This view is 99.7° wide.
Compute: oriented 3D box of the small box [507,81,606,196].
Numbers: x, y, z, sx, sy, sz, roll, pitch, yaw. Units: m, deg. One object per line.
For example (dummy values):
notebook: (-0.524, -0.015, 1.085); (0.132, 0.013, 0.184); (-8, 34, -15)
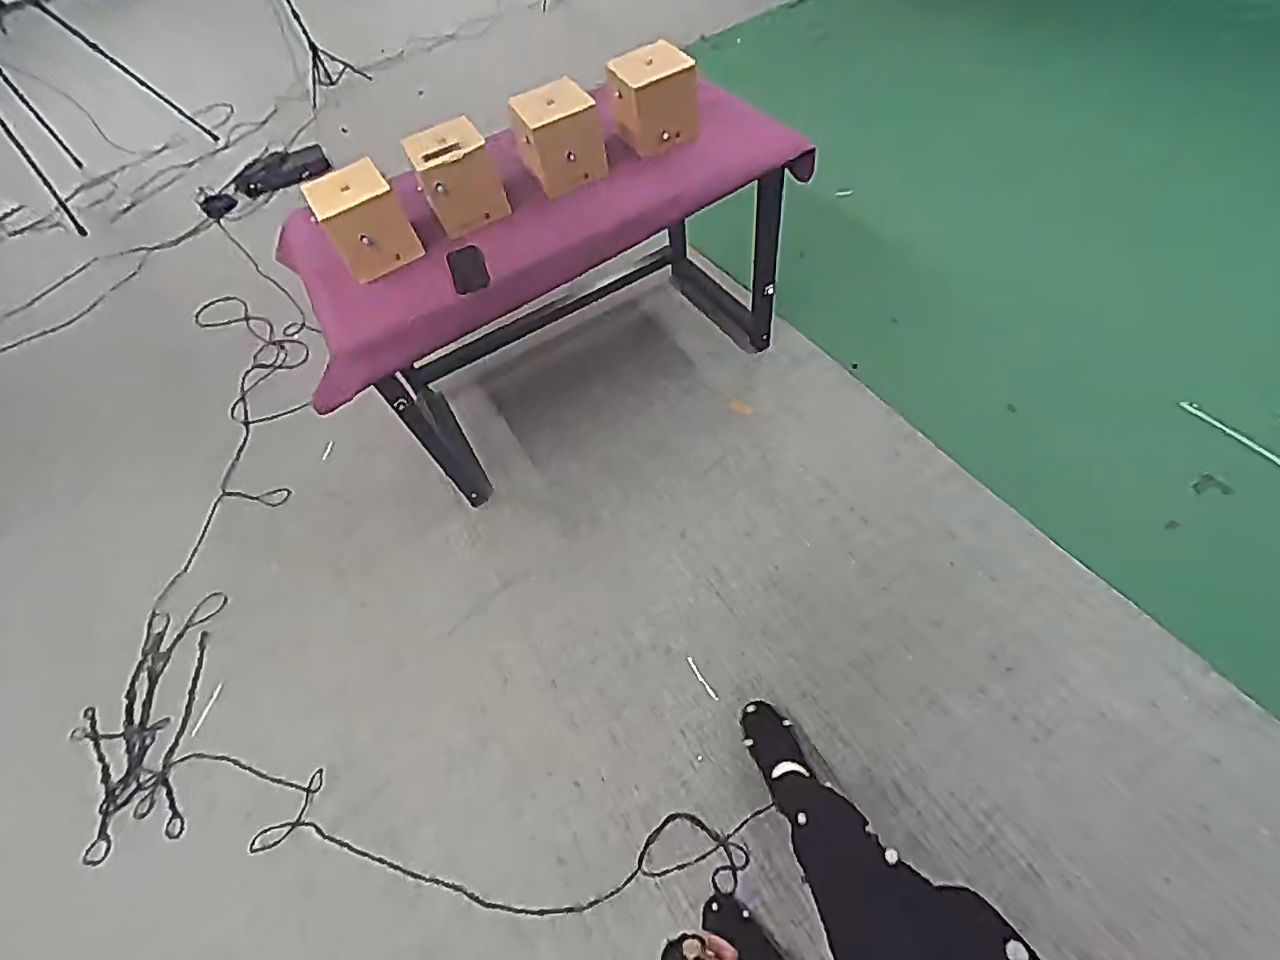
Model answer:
small box: (-0.199, -0.828, 1.327); (0.168, 0.176, 0.179); (-27, 58, -8)

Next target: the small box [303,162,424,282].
small box: (-0.631, -0.587, 1.249); (0.168, 0.176, 0.179); (-32, 59, -11)

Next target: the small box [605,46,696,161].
small box: (0.030, -0.946, 1.365); (0.168, 0.176, 0.179); (-26, 58, -6)
